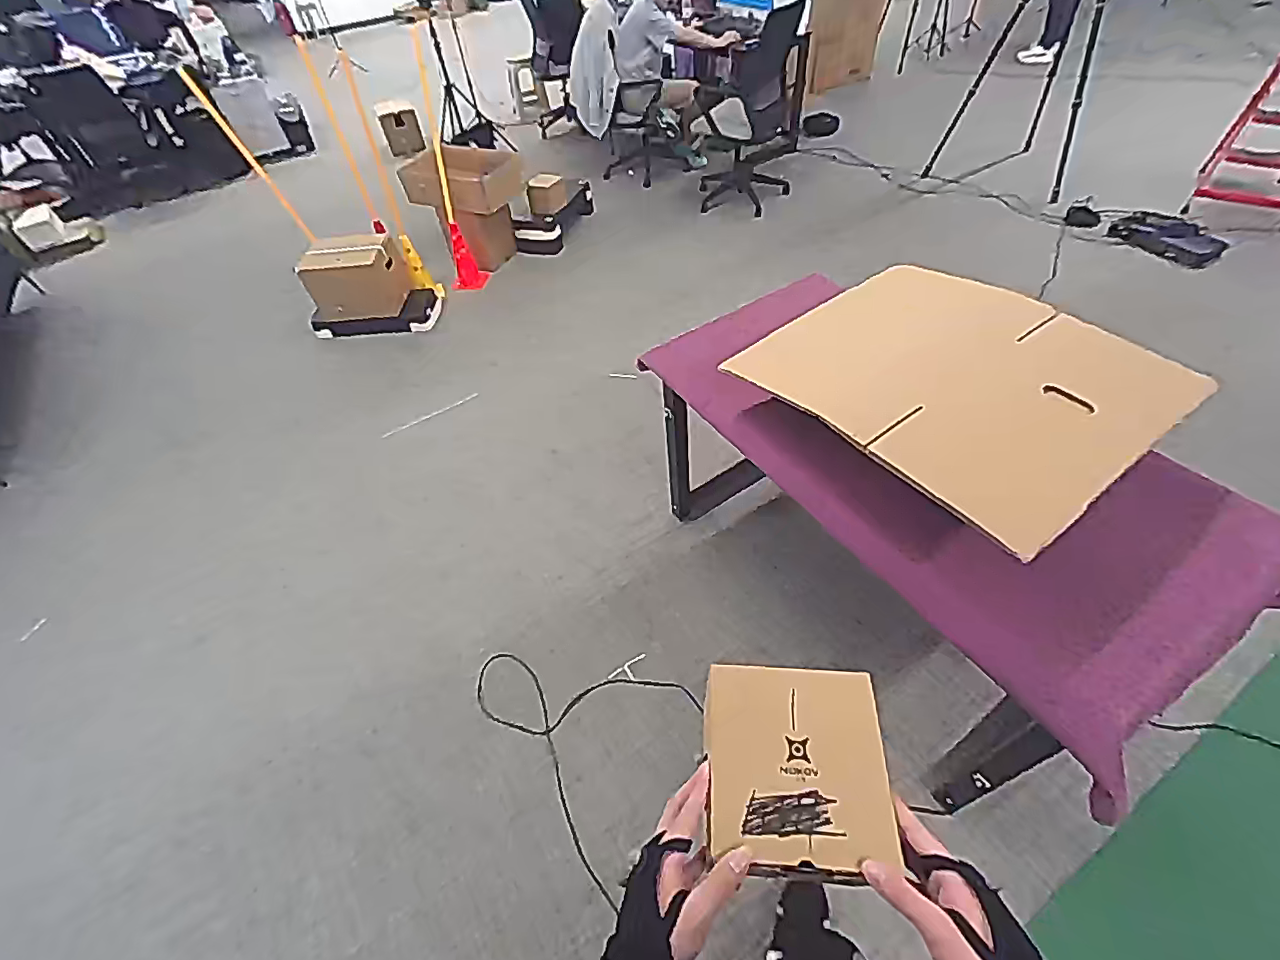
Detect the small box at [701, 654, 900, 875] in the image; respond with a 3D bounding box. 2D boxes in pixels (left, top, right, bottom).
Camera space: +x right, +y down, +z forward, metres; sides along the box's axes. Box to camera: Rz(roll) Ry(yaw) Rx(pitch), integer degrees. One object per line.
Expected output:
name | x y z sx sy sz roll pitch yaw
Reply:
small box | 0.152 0.304 0.574 0.168 0.176 0.179 2 52 6
